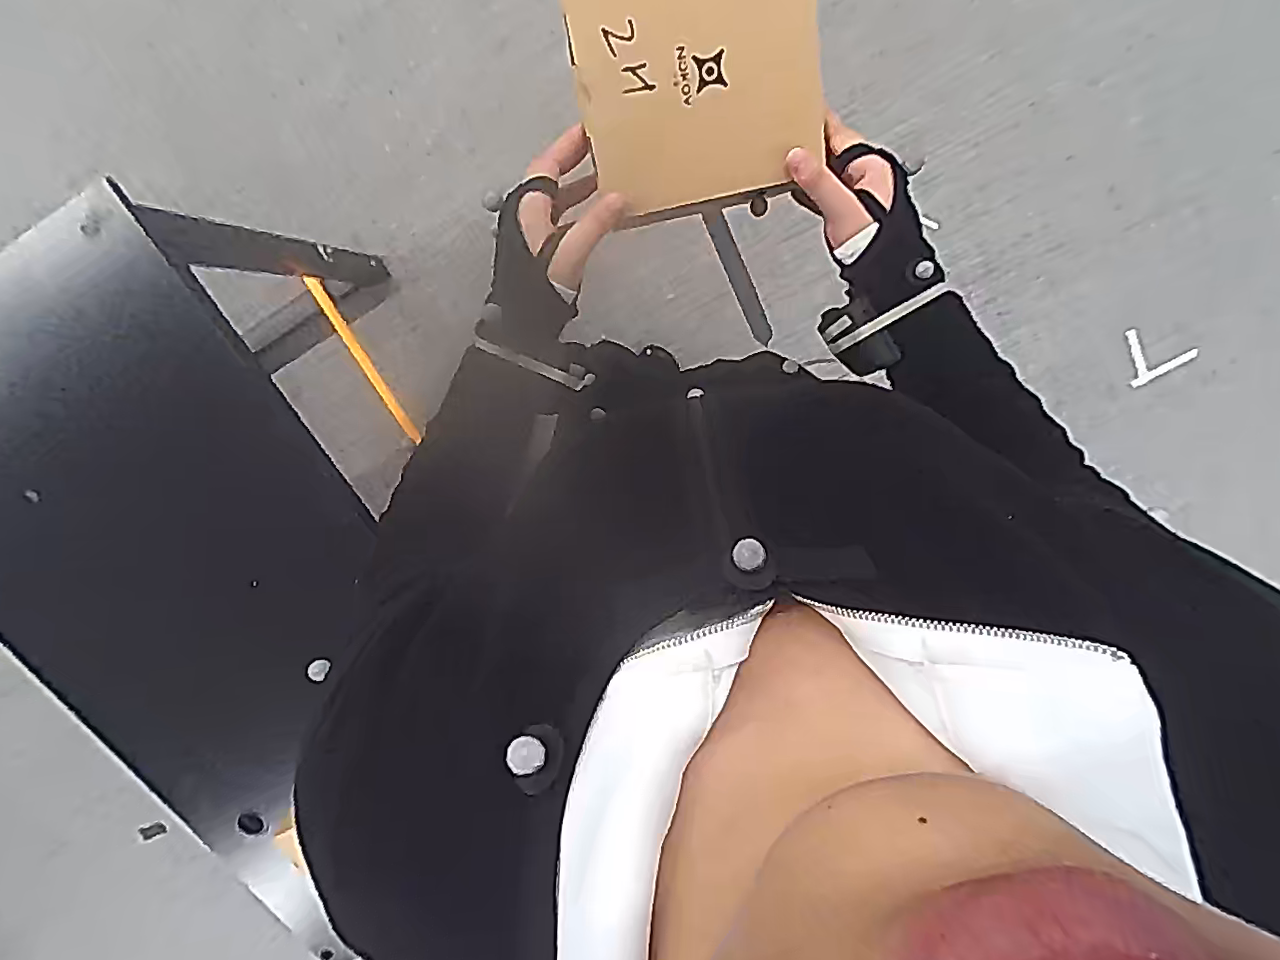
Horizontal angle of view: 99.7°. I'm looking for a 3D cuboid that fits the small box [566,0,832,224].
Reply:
[{"bbox_3d":[0.043,-0.321,0.452,0.179,0.176,0.168,-10,112,4],"label":"small box"}]
